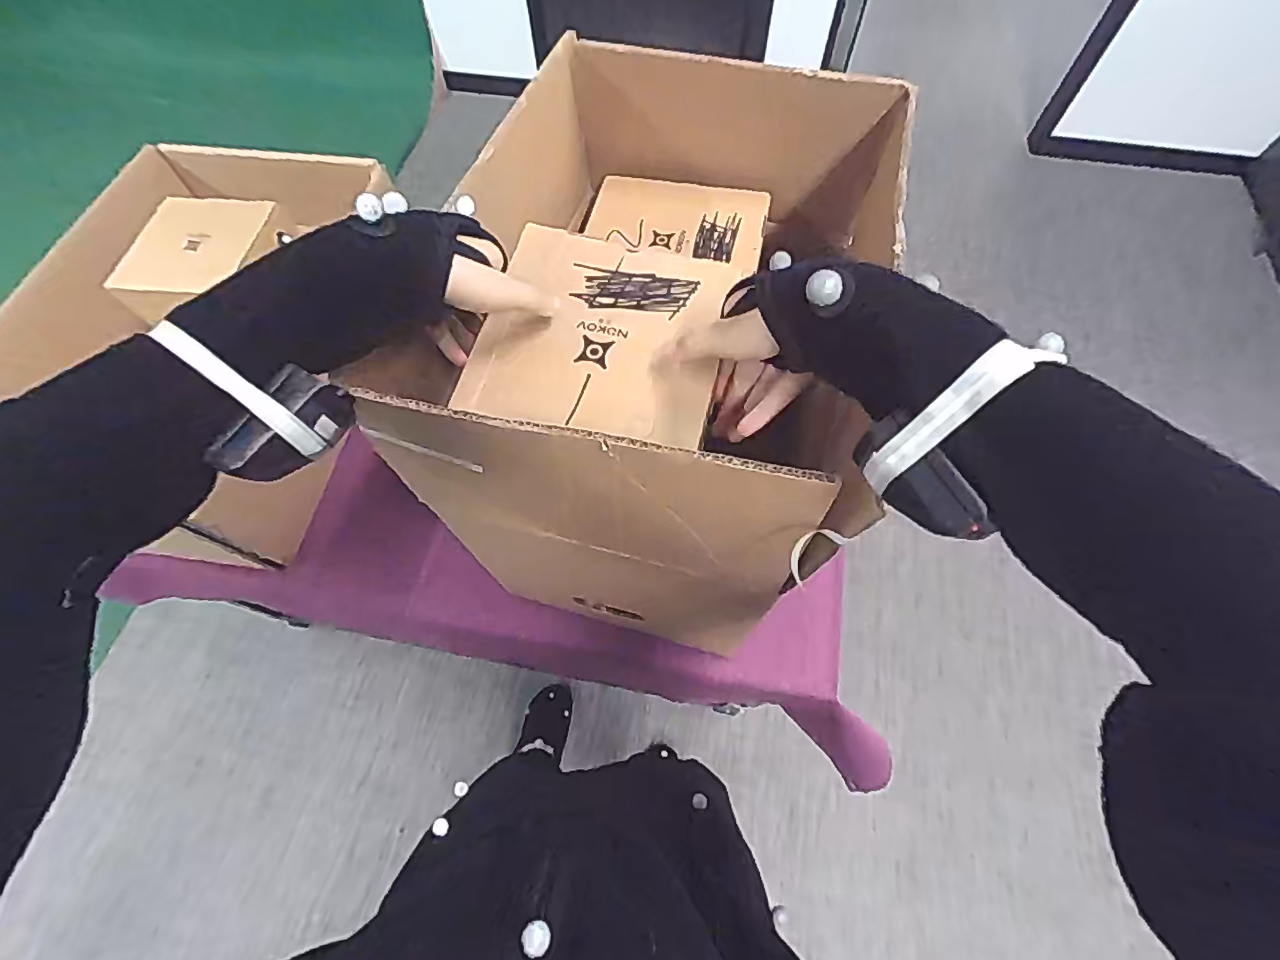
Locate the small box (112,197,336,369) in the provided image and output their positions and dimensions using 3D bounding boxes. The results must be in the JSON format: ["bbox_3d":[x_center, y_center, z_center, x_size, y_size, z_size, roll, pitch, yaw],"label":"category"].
[{"bbox_3d":[-0.586,-0.282,0.794,0.168,0.176,0.179,4,64,4],"label":"small box"}]
